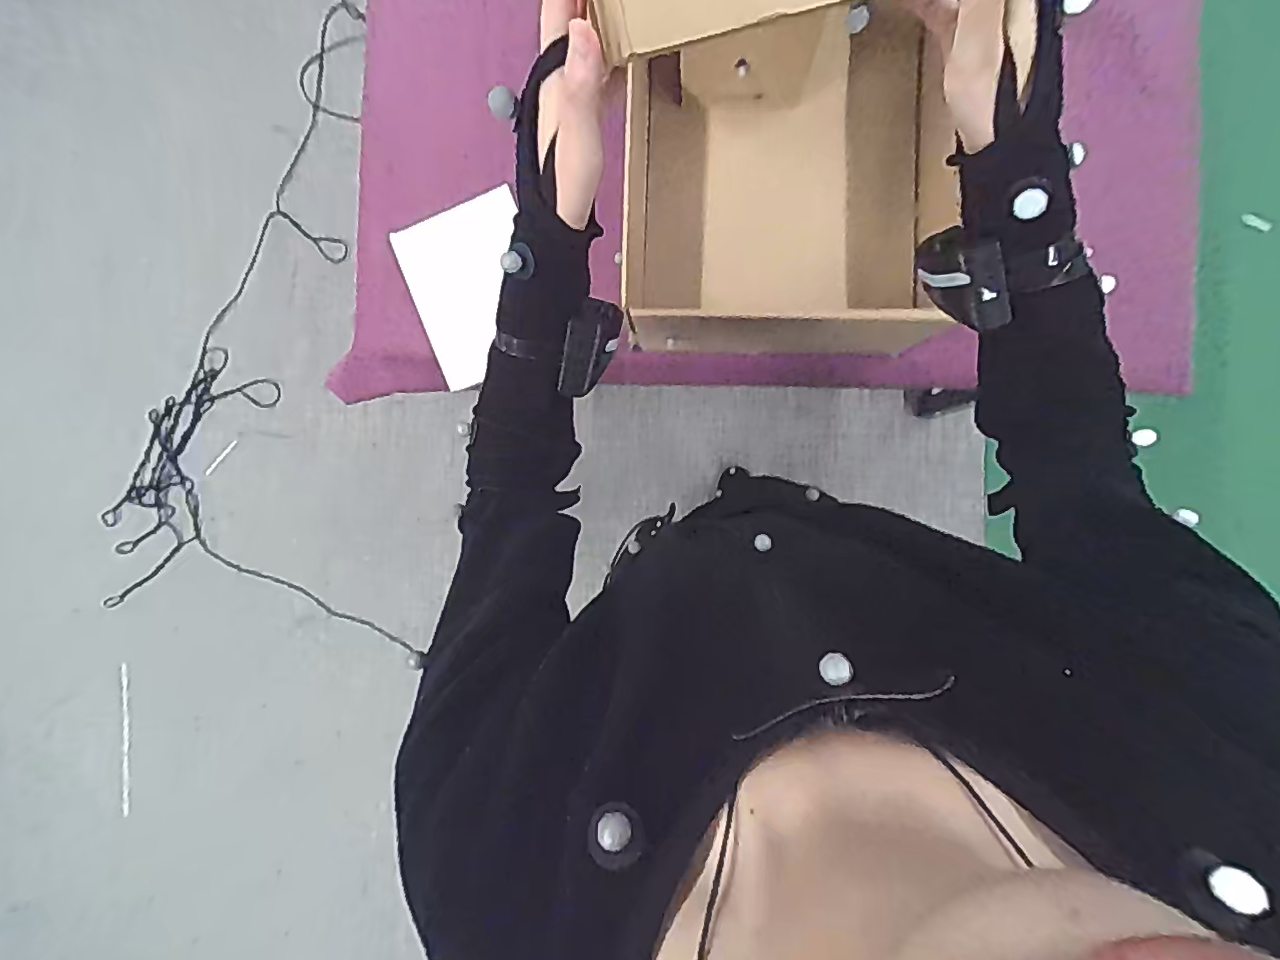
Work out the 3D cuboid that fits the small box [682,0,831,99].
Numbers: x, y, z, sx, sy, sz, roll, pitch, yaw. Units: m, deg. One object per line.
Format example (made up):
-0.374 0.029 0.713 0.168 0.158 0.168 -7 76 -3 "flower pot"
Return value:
0.139 -0.607 0.667 0.168 0.176 0.179 2 91 5 "small box"
